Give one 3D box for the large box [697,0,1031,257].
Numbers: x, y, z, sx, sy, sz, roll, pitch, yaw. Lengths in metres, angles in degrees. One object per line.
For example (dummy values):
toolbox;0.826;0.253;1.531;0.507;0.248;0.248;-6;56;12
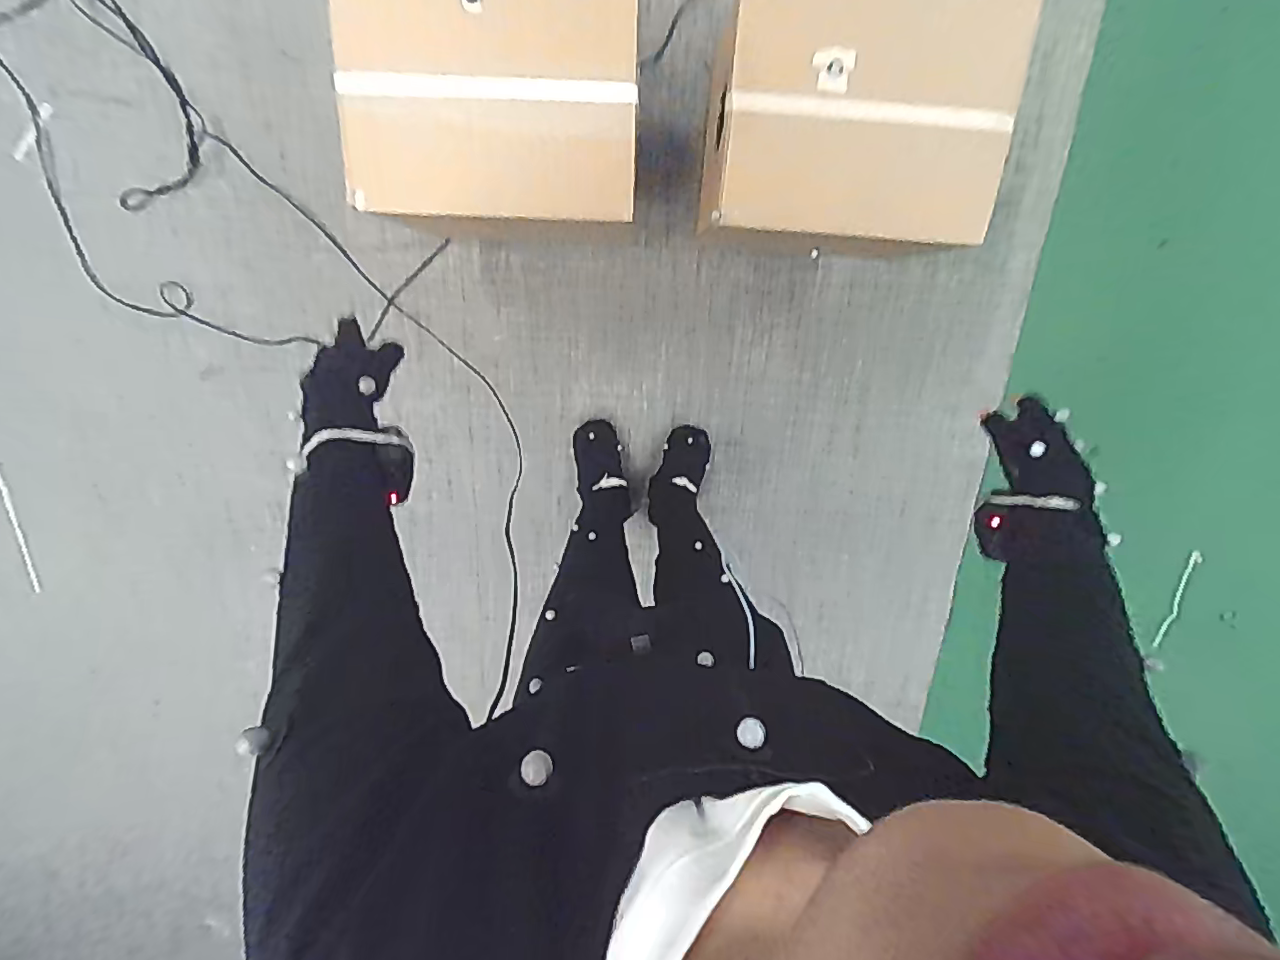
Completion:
large box;0.324;-0.559;0.913;0.408;0.320;0.320;4;108;-2
